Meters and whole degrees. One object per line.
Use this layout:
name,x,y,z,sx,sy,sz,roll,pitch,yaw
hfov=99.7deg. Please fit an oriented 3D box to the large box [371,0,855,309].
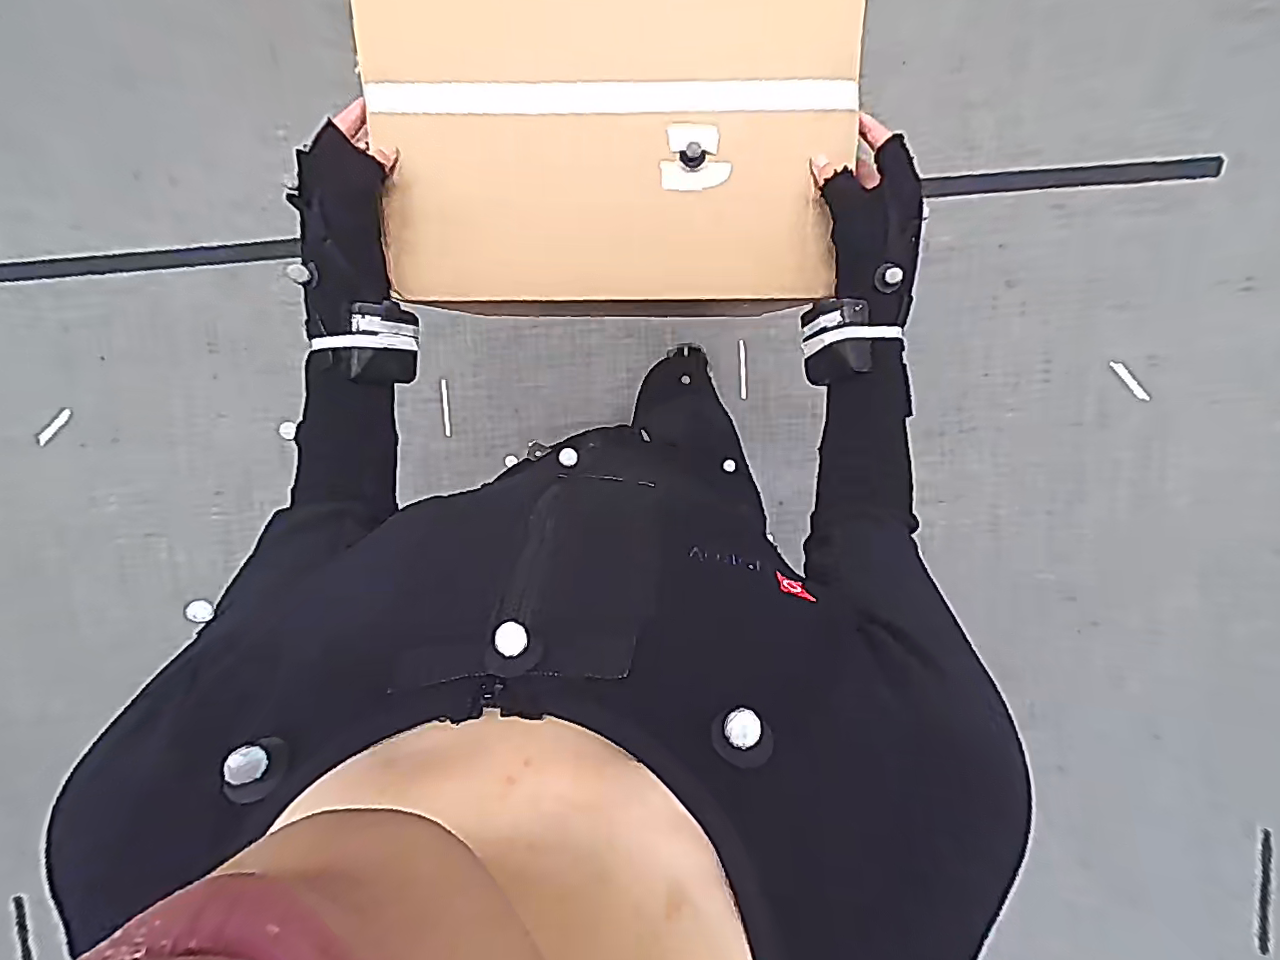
large box,-0.025,-0.366,0.601,0.408,0.320,0.320,0,104,-1
